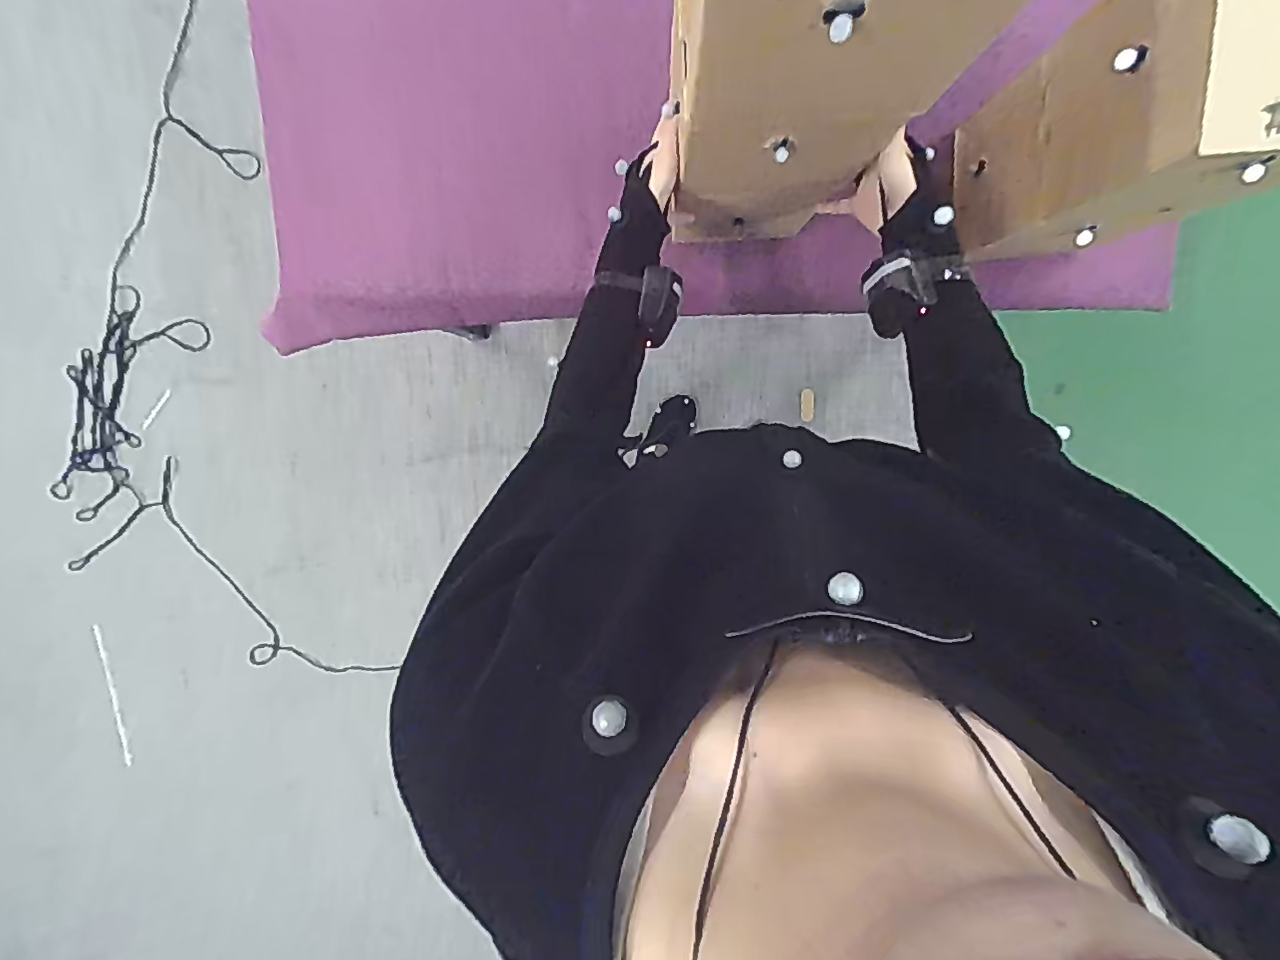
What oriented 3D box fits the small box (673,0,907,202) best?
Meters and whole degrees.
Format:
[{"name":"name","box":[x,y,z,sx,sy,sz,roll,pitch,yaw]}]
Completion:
[{"name":"small box","box":[0.119,-0.361,0.478,0.179,0.176,0.168,-2,100,4]}]

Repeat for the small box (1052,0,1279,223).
[{"name":"small box","box":[0.497,-0.345,0.467,0.168,0.176,0.179,-3,98,5]}]

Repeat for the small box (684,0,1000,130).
[{"name":"small box","box":[0.113,-0.332,0.318,0.179,0.176,0.168,-2,100,3]}]

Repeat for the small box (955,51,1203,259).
[{"name":"small box","box":[0.503,-0.367,0.630,0.179,0.176,0.168,-3,99,4]}]

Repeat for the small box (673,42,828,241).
[{"name":"small box","box":[0.123,-0.392,0.639,0.168,0.176,0.179,-1,98,3]}]
